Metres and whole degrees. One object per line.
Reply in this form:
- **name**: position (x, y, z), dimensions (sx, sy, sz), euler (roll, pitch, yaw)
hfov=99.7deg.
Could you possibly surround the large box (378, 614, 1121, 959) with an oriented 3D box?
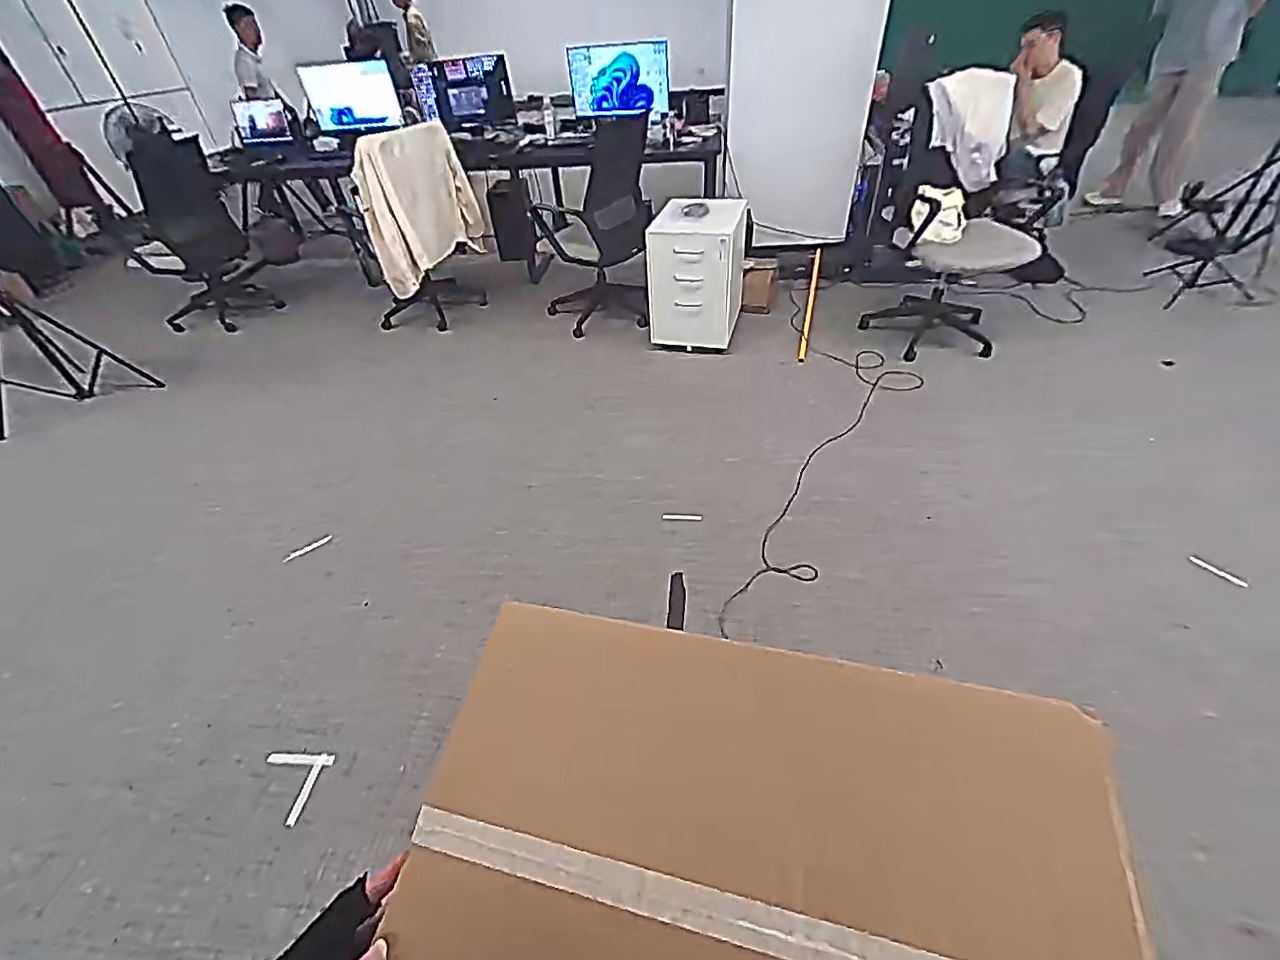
- **large box**: position (0.071, 0.336, 0.432), dimensions (0.408, 0.320, 0.320), euler (6, 57, 15)
